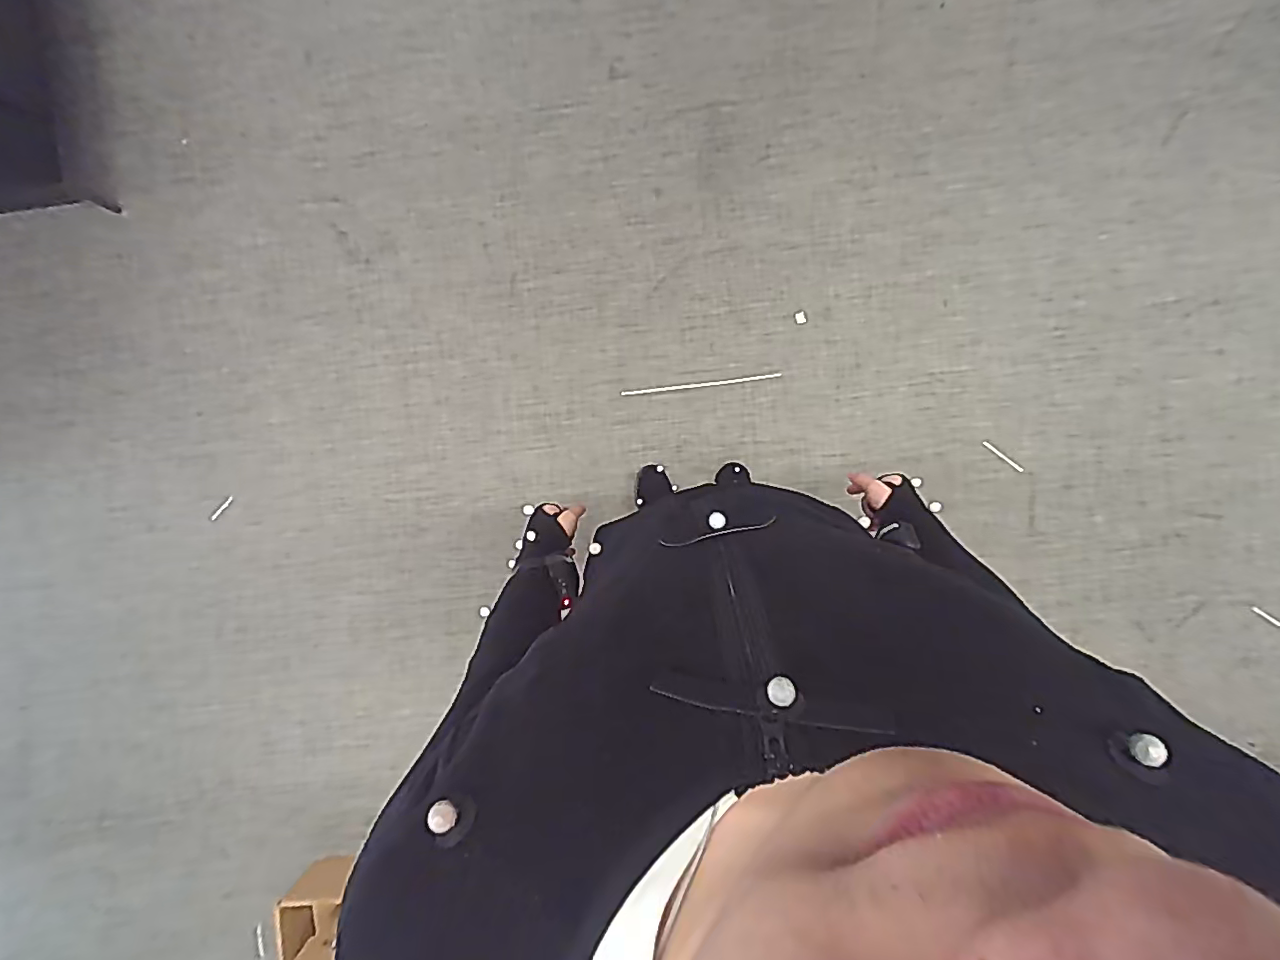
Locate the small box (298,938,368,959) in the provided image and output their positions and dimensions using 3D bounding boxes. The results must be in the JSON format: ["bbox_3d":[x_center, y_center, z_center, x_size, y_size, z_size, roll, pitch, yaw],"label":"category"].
[{"bbox_3d":[-0.829,1.358,1.415,0.168,0.176,0.179,-6,91,2],"label":"small box"}]
